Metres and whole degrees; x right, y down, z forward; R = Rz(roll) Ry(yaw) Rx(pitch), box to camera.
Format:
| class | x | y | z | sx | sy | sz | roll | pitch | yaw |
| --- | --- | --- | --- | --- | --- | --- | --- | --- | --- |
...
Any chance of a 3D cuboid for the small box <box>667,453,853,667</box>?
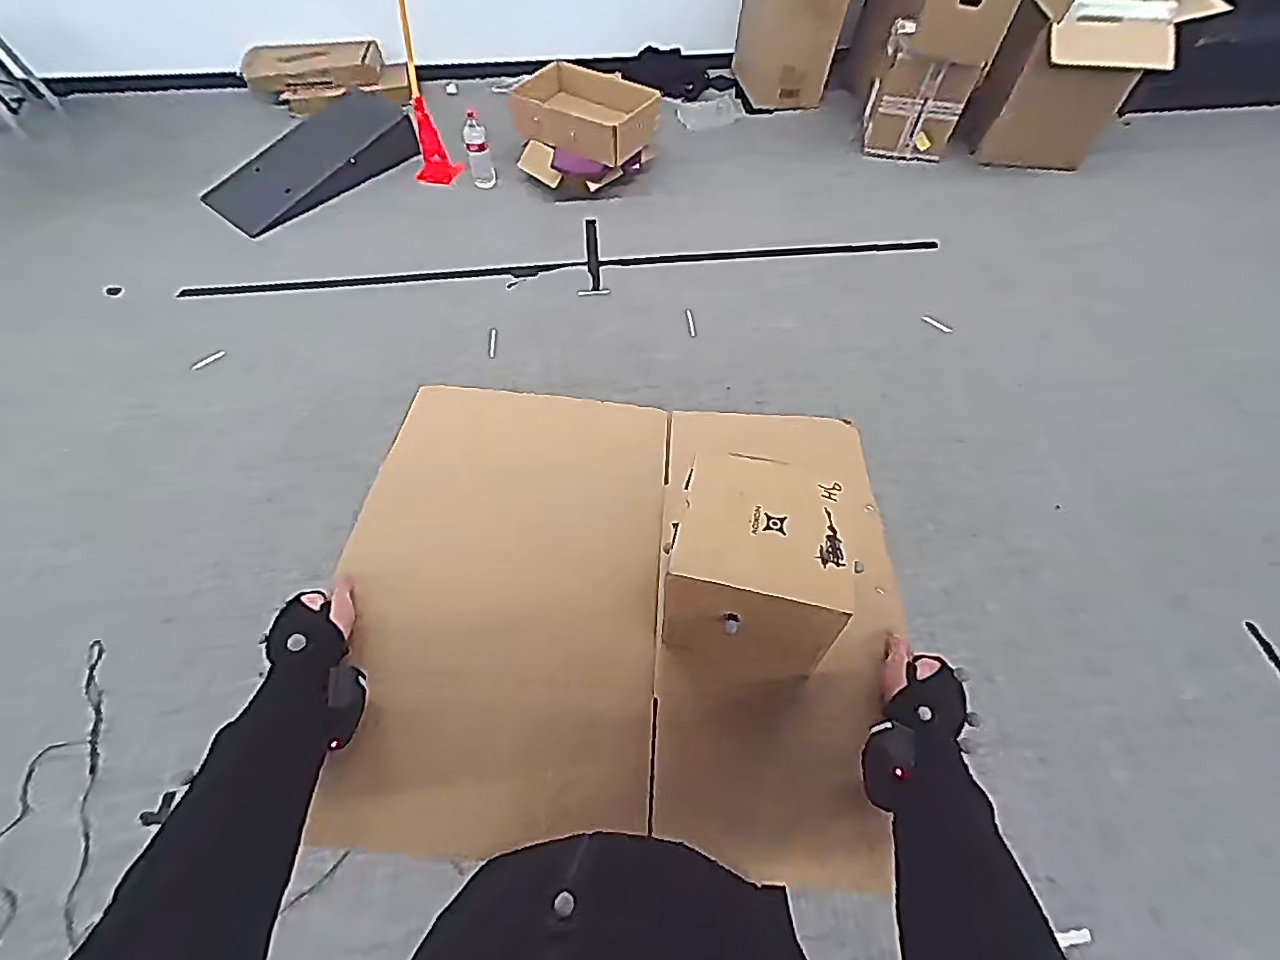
| class | x | y | z | sx | sy | sz | roll | pitch | yaw |
| --- | --- | --- | --- | --- | --- | --- | --- | --- | --- |
| small box | 0.132 | 0.095 | 0.618 | 0.179 | 0.176 | 0.168 | 10 | 53 | 10 |
